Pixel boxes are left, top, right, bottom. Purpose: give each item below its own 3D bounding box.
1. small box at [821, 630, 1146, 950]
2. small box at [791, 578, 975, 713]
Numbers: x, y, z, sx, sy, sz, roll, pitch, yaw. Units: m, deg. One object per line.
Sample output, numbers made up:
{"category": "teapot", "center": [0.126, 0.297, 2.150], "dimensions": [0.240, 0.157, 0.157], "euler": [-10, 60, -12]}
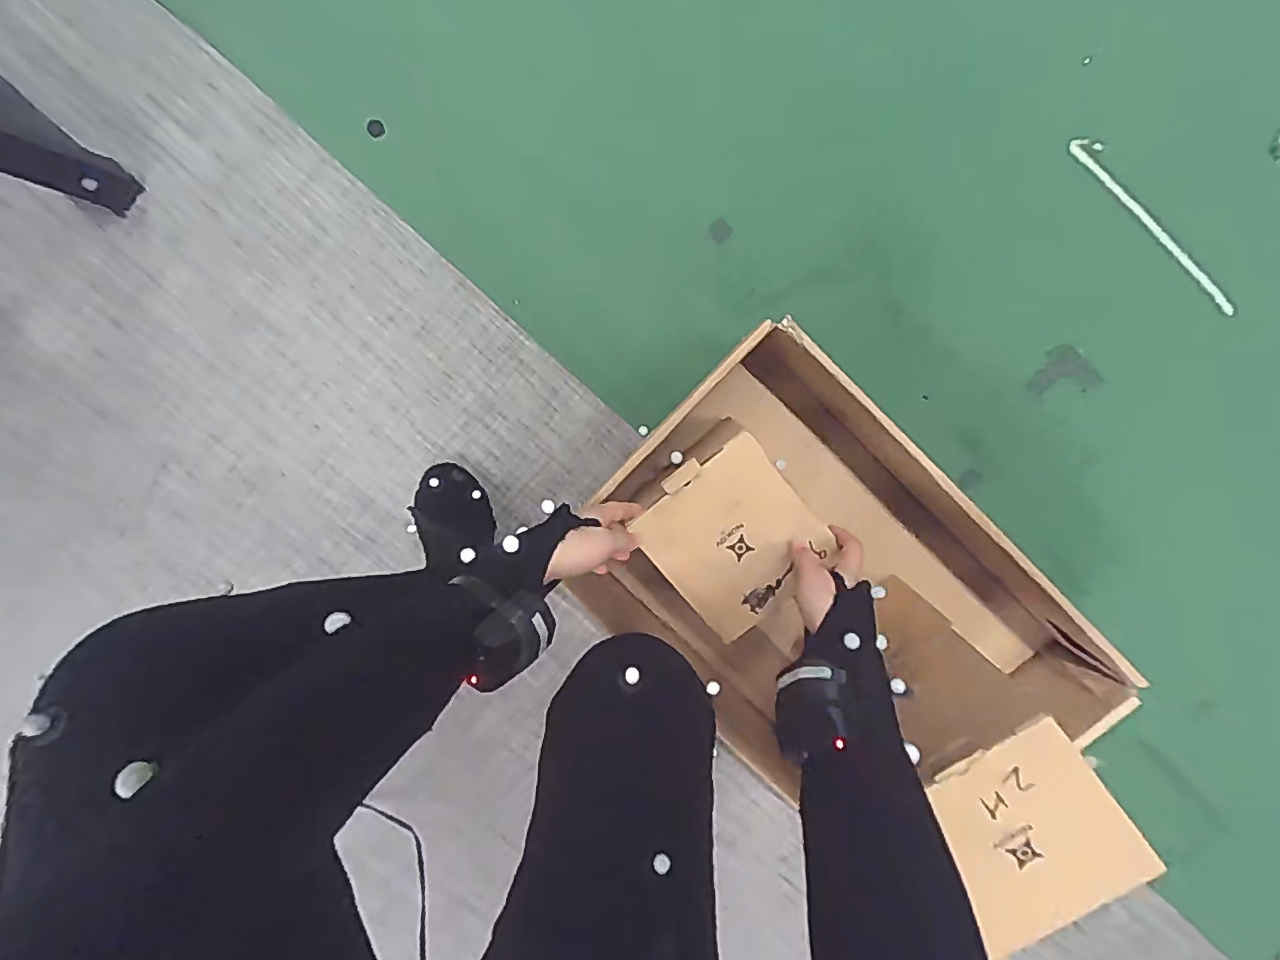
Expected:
{"category": "small box", "center": [0.310, 0.284, 0.530], "dimensions": [0.168, 0.176, 0.179], "euler": [-37, 95, 8]}
{"category": "small box", "center": [0.321, 0.254, 0.691], "dimensions": [0.179, 0.176, 0.168], "euler": [-38, 95, 9]}
